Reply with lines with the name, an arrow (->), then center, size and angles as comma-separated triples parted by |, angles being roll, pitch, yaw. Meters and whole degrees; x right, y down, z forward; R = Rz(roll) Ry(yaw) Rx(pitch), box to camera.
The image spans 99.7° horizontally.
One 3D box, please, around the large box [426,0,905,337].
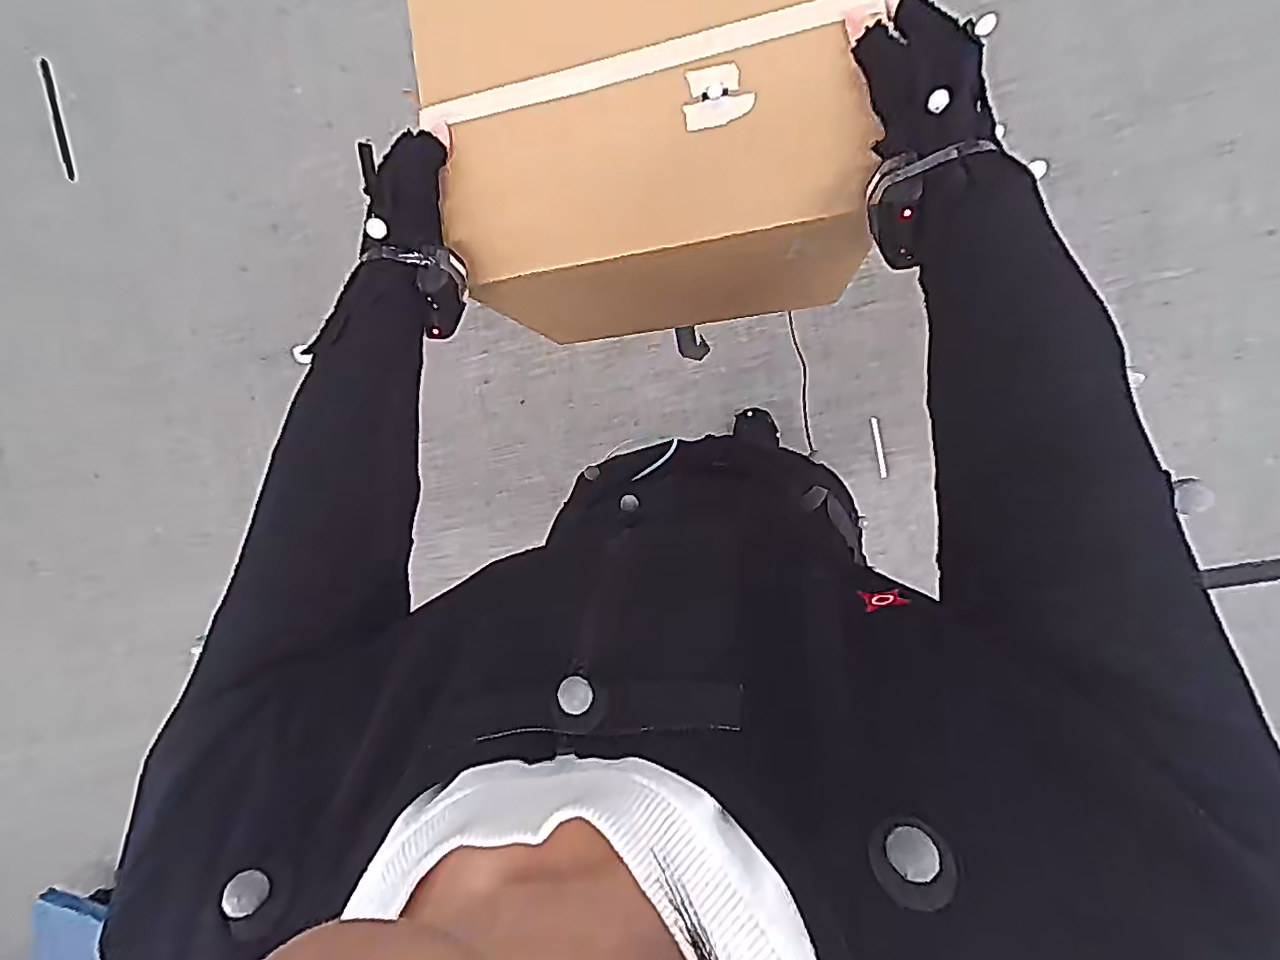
large box -> 0.031, -0.377, 0.620 | 0.408, 0.320, 0.320 | -7, 93, 11
